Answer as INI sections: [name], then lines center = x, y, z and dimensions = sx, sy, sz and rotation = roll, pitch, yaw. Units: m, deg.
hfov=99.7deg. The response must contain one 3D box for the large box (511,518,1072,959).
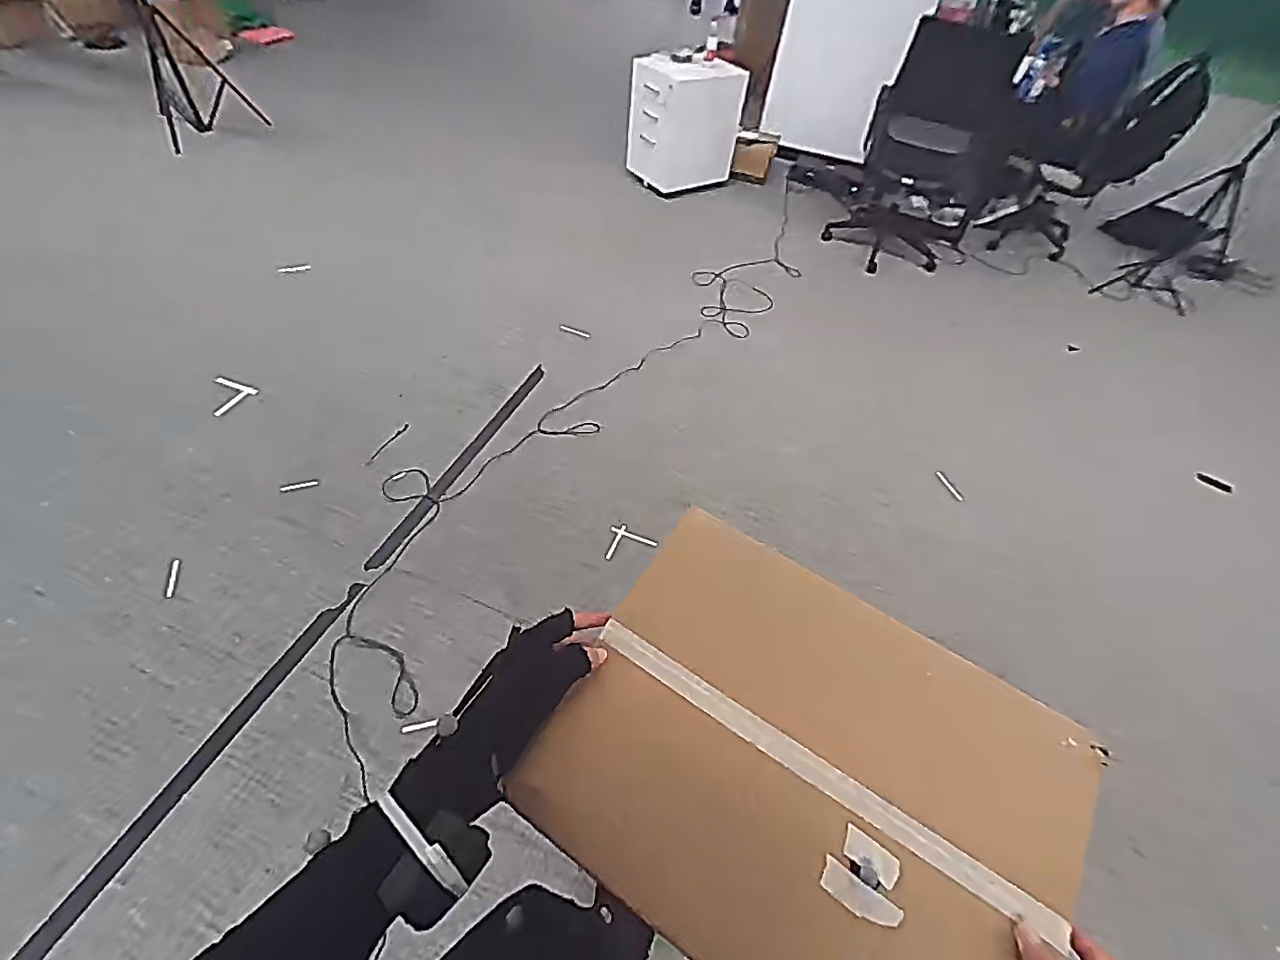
[large box]
center = 0.132, 0.314, 0.592
dimensions = 0.408, 0.320, 0.320
rotation = 30, 64, 16
